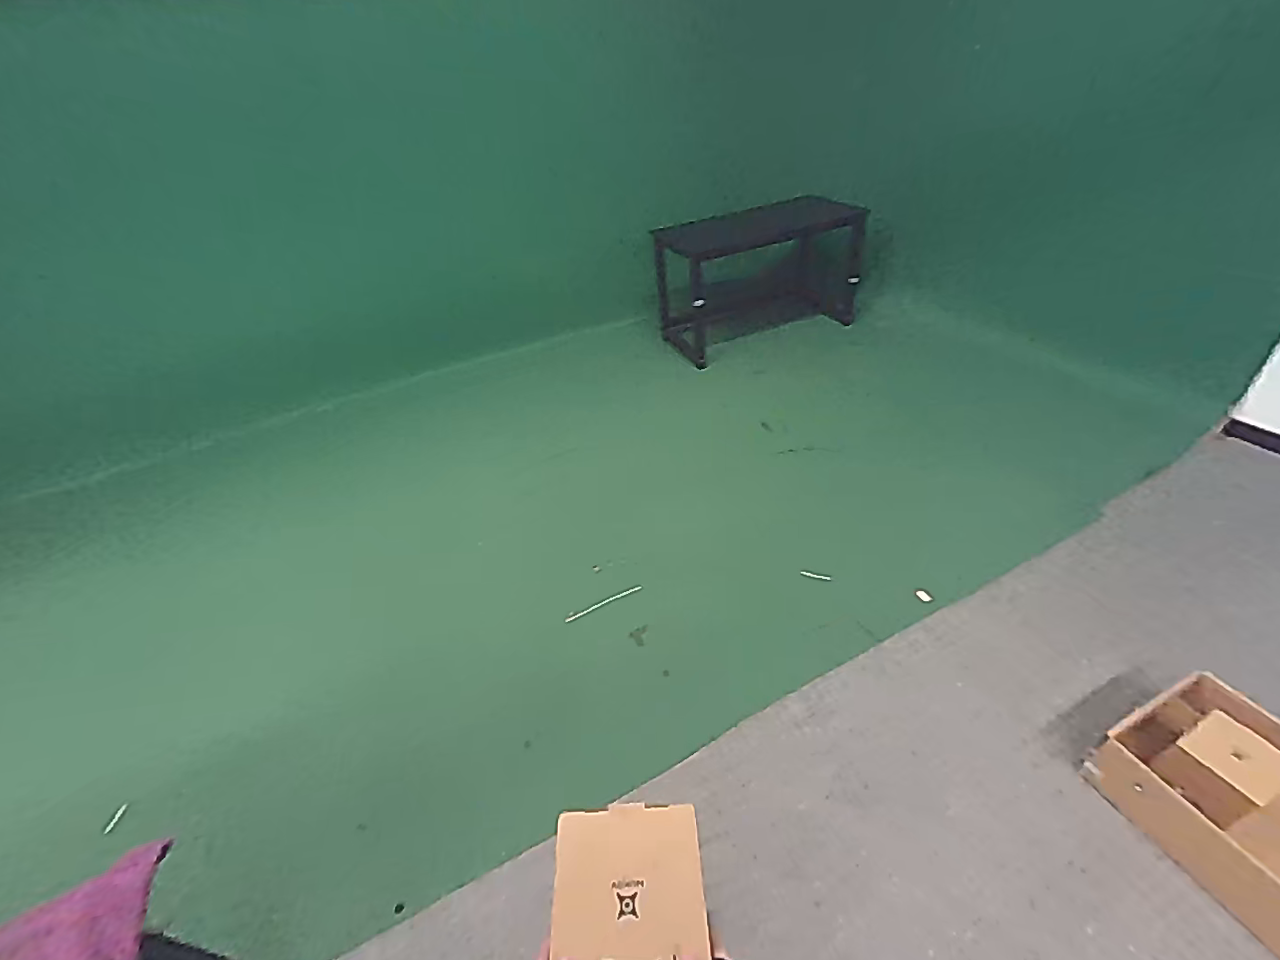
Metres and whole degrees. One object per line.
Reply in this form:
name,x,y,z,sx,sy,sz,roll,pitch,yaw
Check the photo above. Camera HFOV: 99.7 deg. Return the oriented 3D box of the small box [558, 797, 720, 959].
small box,0.002,0.504,0.638,0.168,0.176,0.179,-4,40,2
